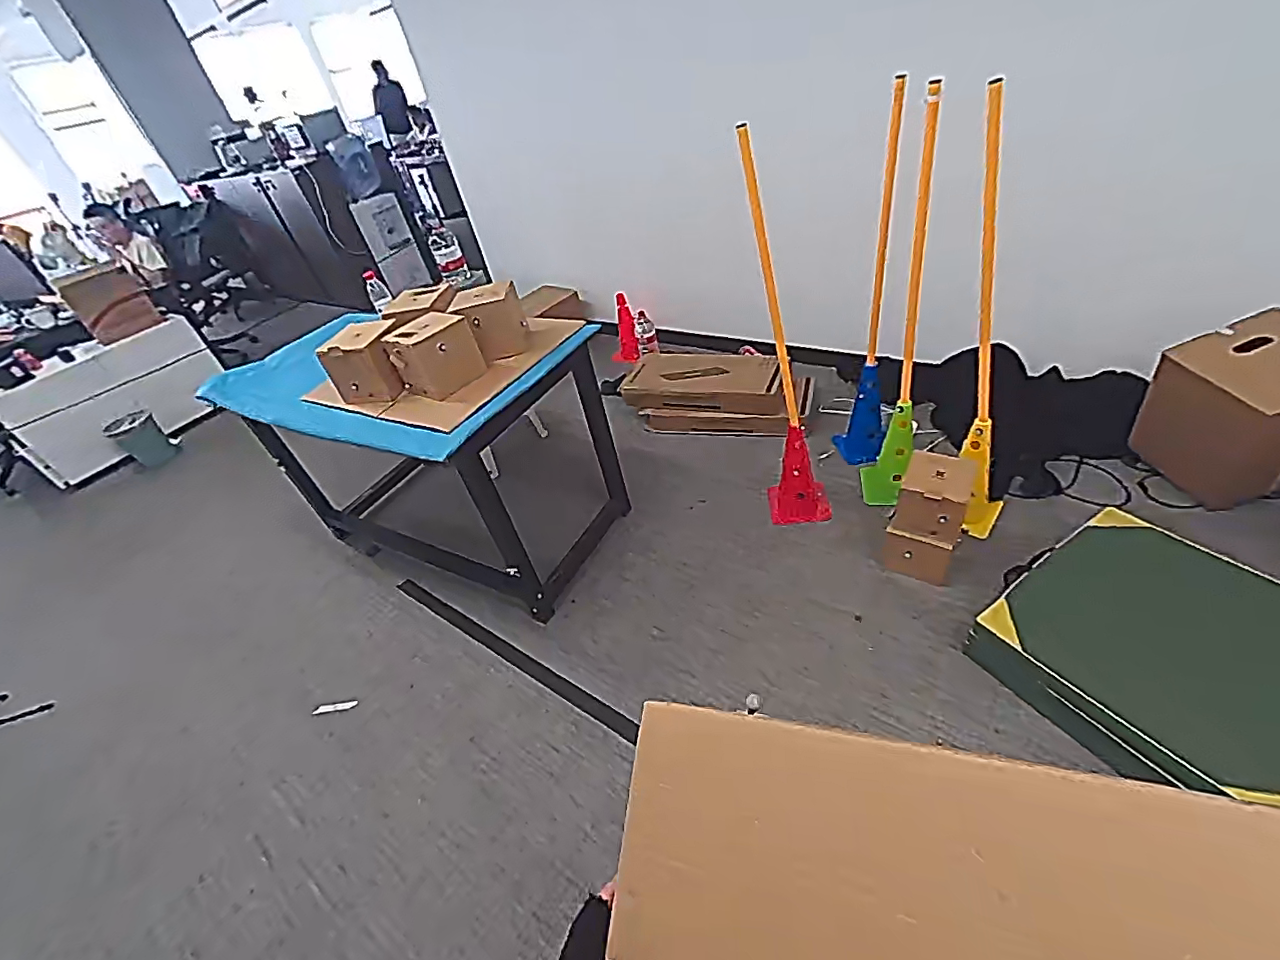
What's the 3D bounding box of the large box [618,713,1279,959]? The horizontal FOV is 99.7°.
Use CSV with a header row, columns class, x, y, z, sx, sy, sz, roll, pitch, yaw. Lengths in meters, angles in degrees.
class,x,y,z,sx,sy,sz,roll,pitch,yaw
large box,0.210,0.372,0.405,0.408,0.320,0.320,2,68,18
